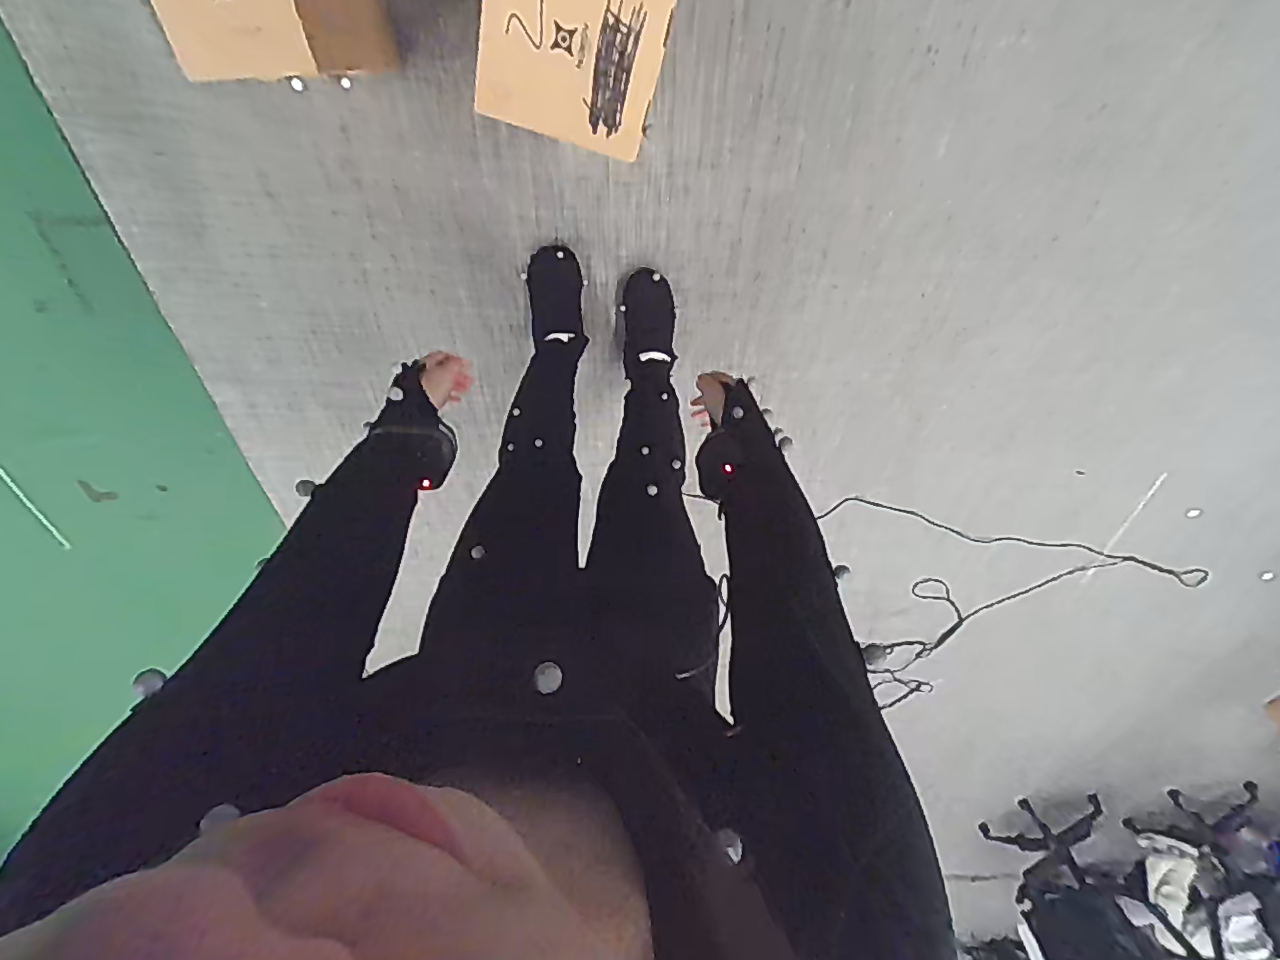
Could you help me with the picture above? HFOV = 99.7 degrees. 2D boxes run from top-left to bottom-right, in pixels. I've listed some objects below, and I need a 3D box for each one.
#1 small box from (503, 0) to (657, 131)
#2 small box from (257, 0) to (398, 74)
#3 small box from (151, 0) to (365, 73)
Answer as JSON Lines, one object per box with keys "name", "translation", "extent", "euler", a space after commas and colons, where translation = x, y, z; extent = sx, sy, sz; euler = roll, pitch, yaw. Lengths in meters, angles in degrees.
{"name": "small box", "translation": [-0.071, -0.583, 0.696], "extent": [0.168, 0.176, 0.179], "euler": [11, 128, -10]}
{"name": "small box", "translation": [-0.483, -0.707, 0.789], "extent": [0.168, 0.176, 0.179], "euler": [-4, 129, 1]}
{"name": "small box", "translation": [-0.472, -0.611, 0.659], "extent": [0.168, 0.176, 0.179], "euler": [-3, 129, 2]}
